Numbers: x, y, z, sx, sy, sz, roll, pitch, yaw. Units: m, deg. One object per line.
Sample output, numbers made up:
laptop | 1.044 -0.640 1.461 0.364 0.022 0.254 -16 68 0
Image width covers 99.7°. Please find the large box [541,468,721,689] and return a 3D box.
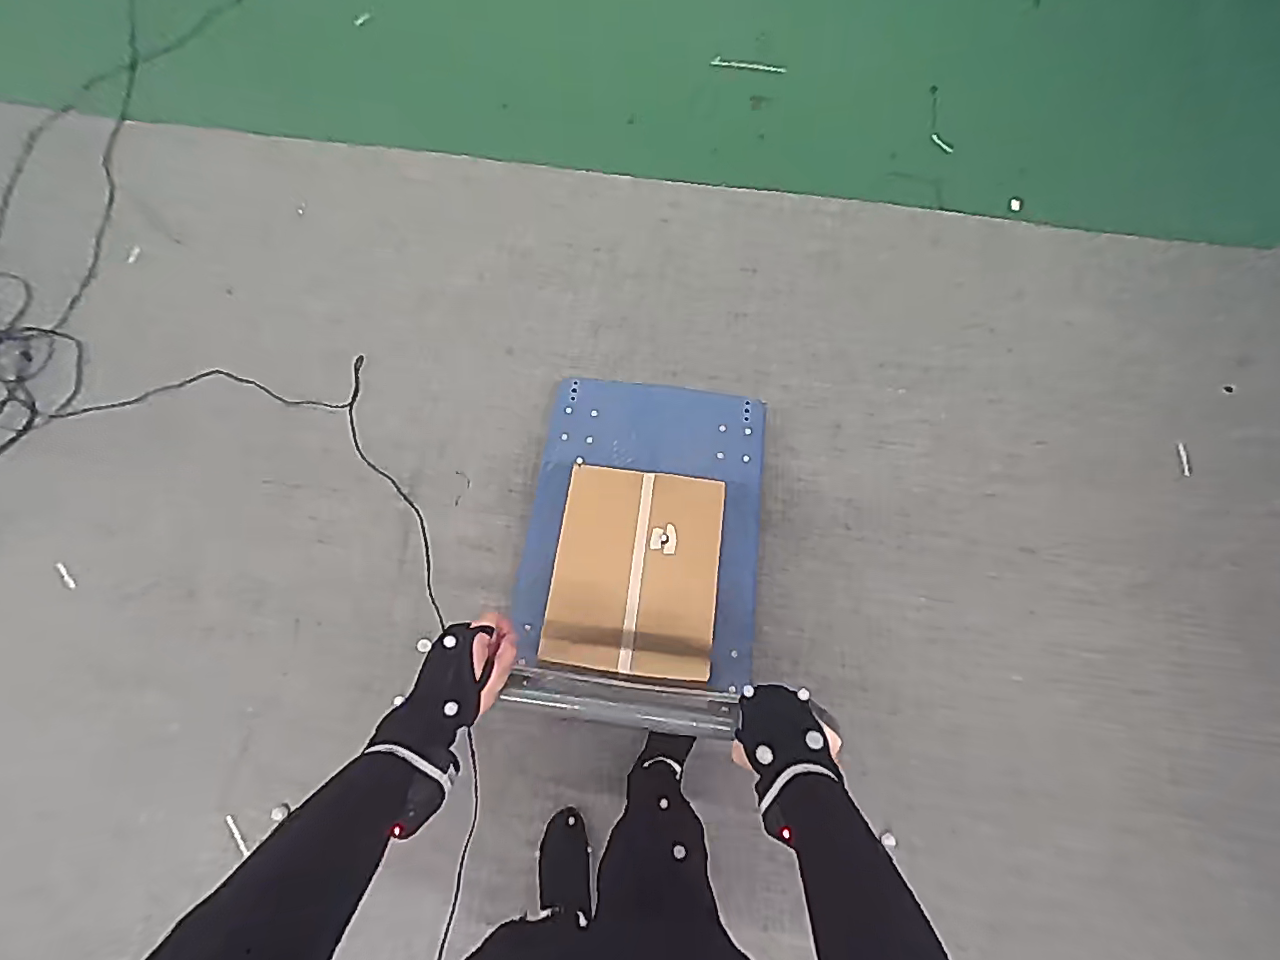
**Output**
large box | -0.007 0.227 1.171 0.320 0.320 0.408 7 69 1
